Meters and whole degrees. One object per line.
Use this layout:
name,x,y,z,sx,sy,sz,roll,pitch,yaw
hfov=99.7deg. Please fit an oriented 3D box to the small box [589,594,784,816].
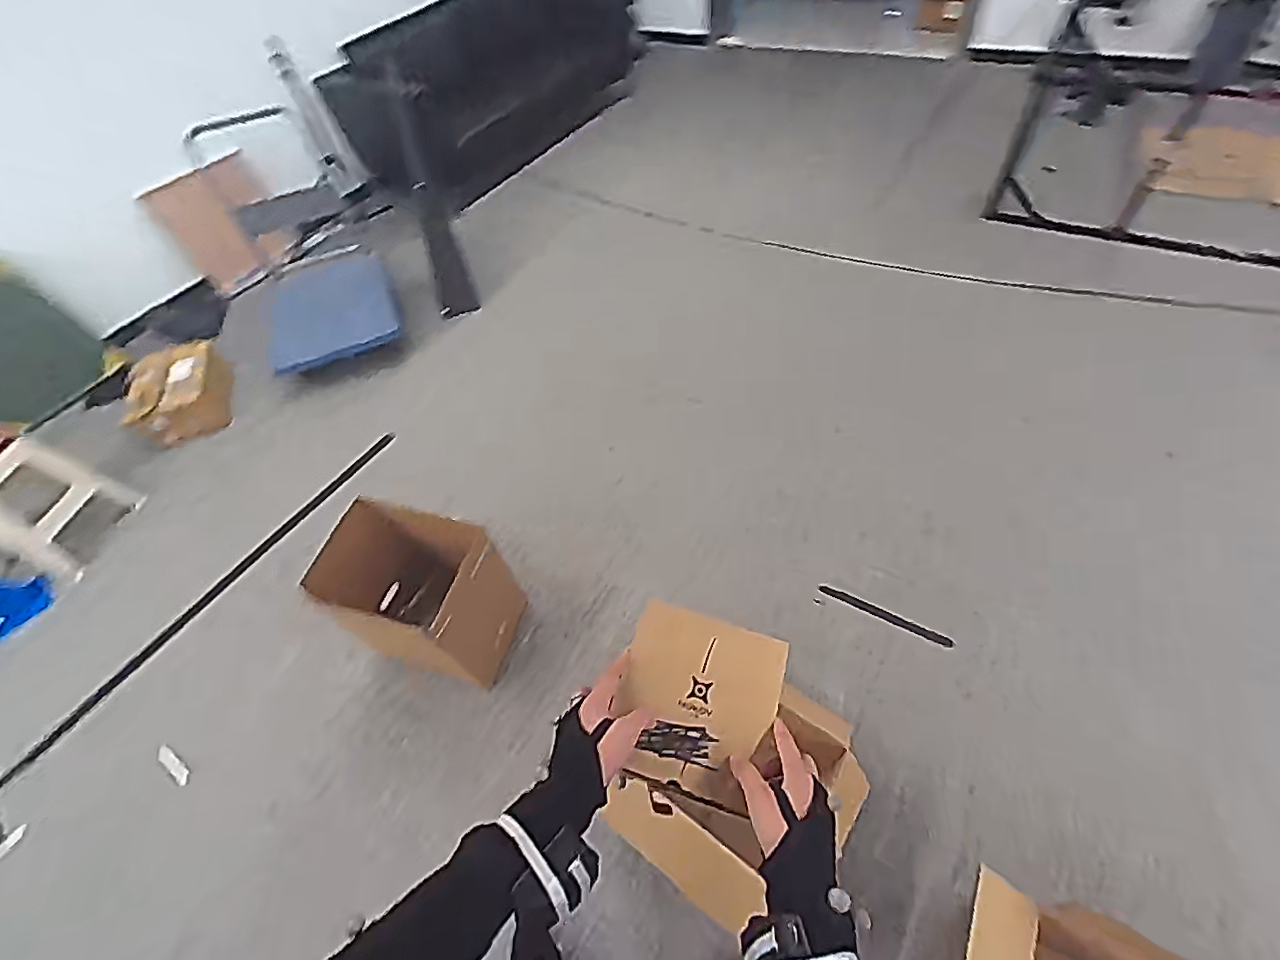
small box,0.052,0.262,0.627,0.168,0.176,0.179,17,61,7
